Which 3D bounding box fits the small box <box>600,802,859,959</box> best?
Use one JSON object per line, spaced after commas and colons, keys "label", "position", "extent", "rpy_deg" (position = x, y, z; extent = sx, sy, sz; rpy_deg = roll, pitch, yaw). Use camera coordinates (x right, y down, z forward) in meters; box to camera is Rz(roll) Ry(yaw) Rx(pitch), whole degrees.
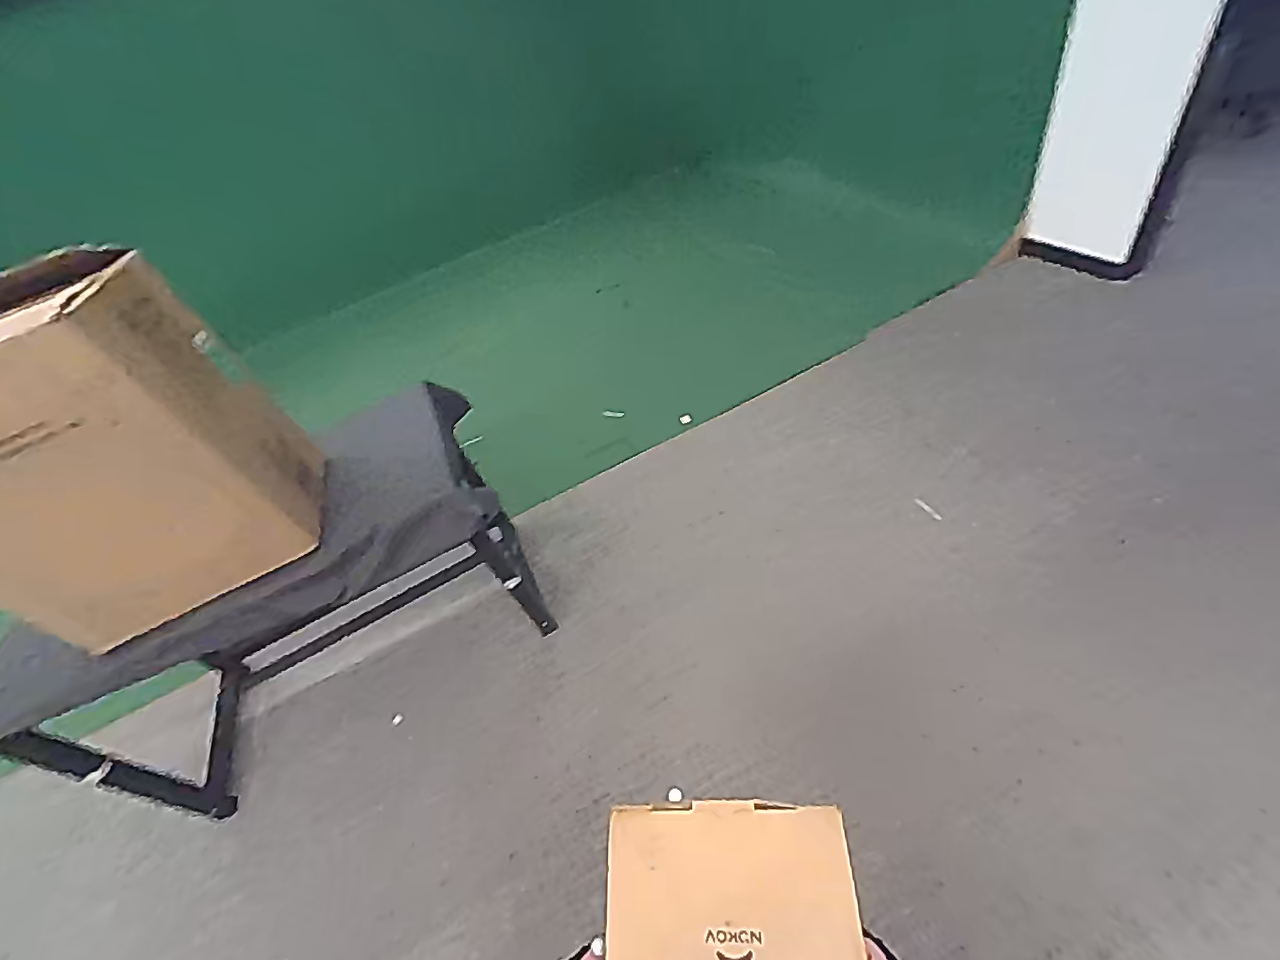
{"label": "small box", "position": [0.061, 0.349, 0.406], "extent": [0.168, 0.176, 0.179], "rpy_deg": [-3, 57, 4]}
